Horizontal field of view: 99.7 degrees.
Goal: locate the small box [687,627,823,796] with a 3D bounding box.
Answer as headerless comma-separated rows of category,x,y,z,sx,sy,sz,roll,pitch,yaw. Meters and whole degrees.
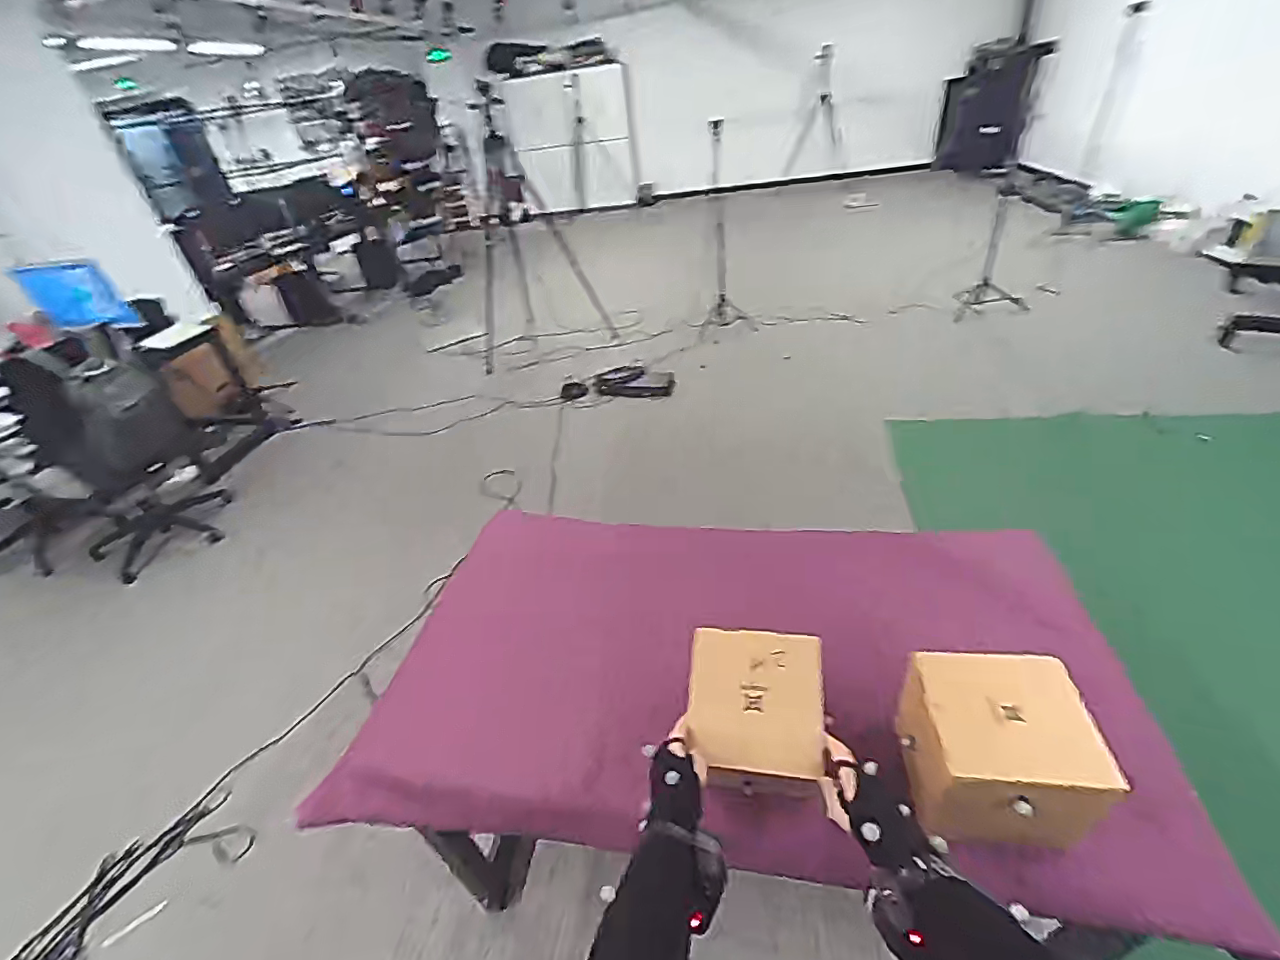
small box,0.166,0.326,0.756,0.168,0.176,0.179,2,54,14

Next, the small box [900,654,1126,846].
small box,0.457,0.348,0.699,0.179,0.176,0.168,-2,37,12
